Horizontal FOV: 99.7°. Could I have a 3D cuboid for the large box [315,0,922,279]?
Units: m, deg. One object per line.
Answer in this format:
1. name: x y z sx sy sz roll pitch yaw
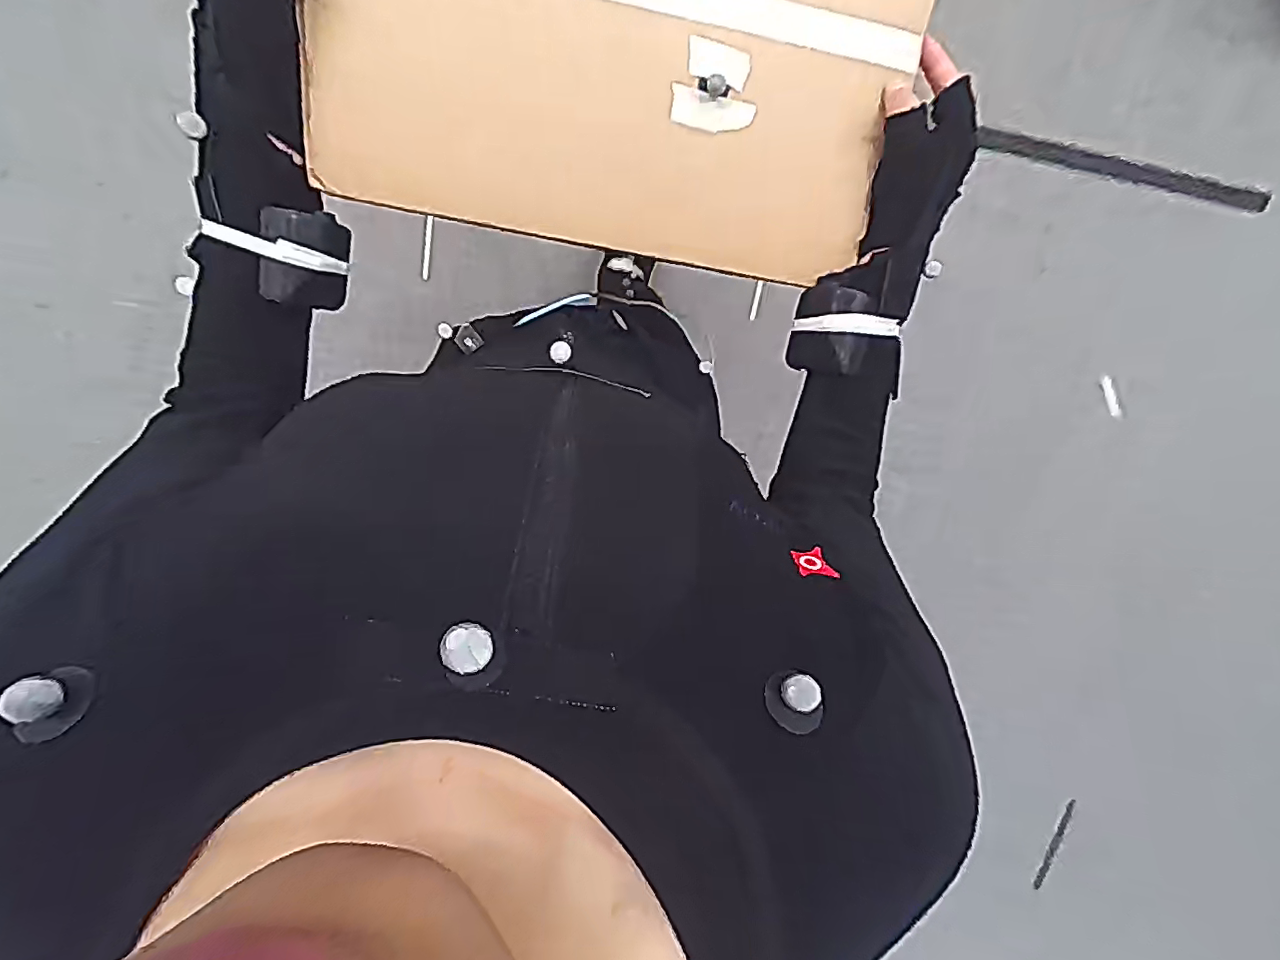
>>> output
1. large box: -0.021 -0.382 0.493 0.408 0.320 0.320 7 113 -9
